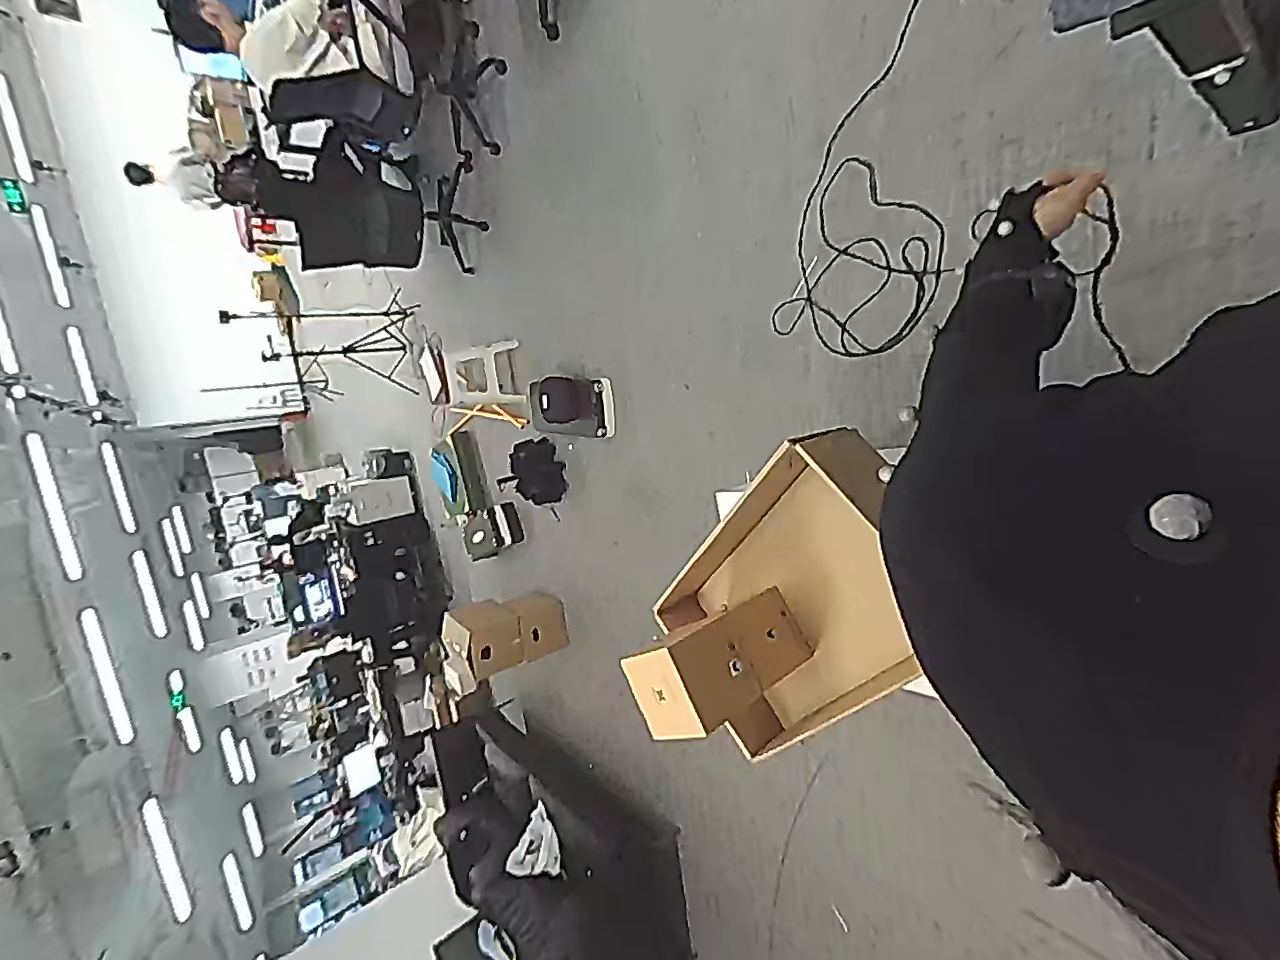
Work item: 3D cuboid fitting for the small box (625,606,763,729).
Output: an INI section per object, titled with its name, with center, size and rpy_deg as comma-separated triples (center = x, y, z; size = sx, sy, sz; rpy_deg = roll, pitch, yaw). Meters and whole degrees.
[small box]
center = 0.106, 0.370, 1.066
size = 0.179, 0.176, 0.168
rpy_deg = -38, 74, 50
